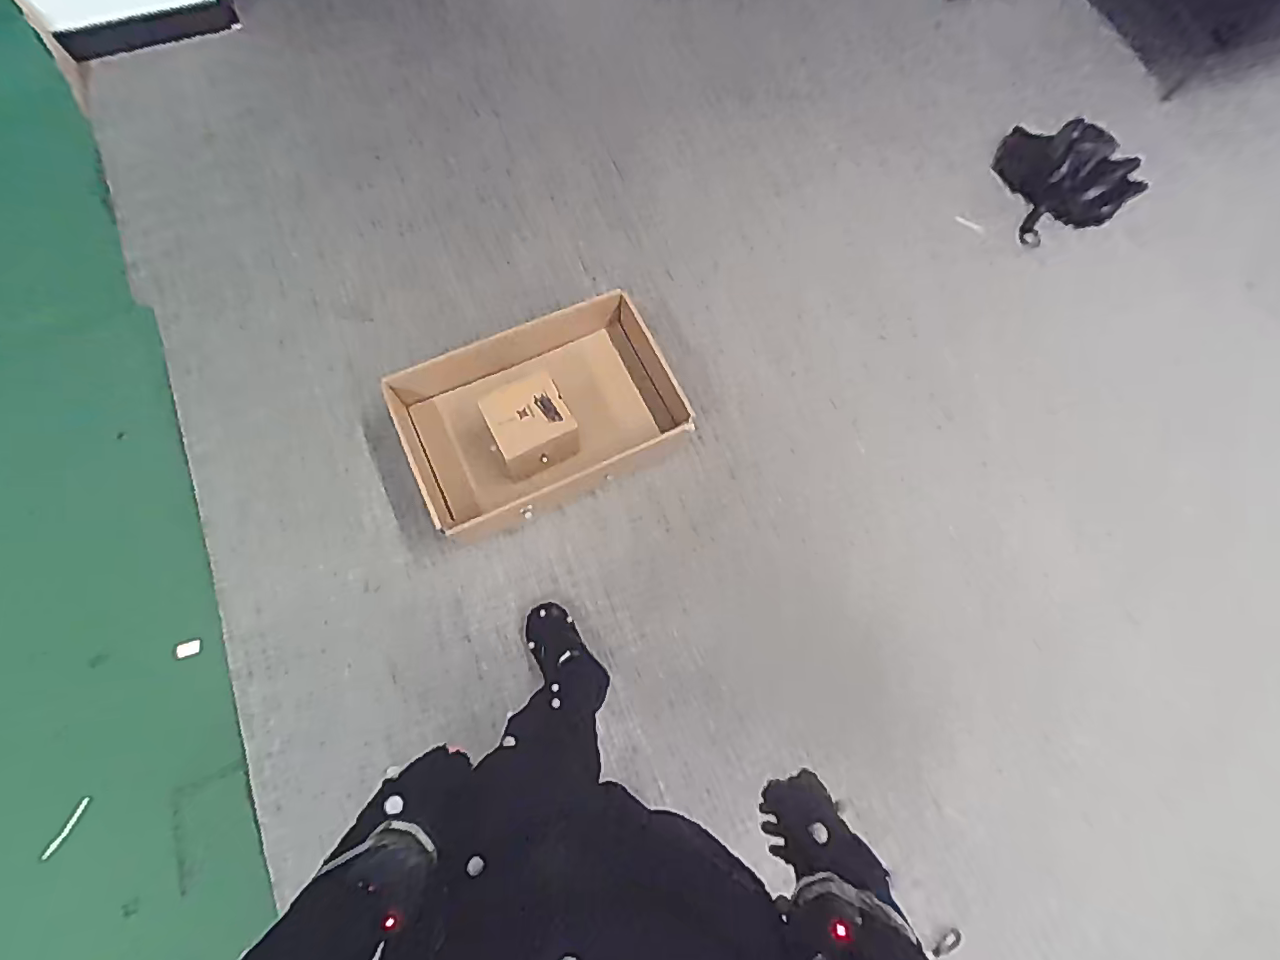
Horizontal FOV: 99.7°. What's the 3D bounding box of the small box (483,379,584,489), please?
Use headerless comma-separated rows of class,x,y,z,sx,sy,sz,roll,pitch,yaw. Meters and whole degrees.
small box,-0.243,-0.103,1.269,0.179,0.176,0.168,-26,75,-10
